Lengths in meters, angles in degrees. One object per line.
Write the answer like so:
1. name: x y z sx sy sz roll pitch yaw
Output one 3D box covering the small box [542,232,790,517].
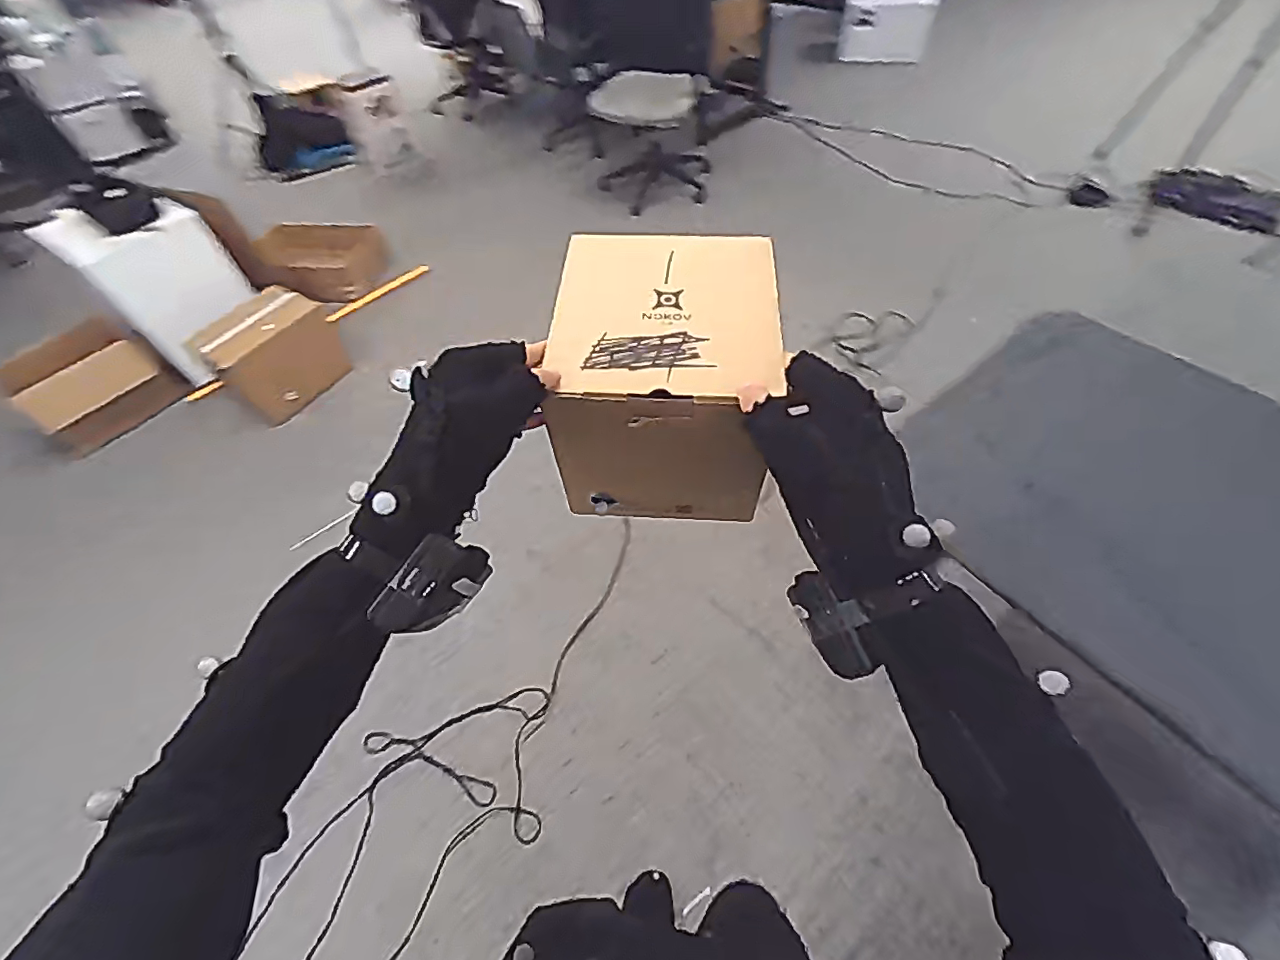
1. small box: 0.027 -0.083 0.460 0.168 0.176 0.179 4 57 4
